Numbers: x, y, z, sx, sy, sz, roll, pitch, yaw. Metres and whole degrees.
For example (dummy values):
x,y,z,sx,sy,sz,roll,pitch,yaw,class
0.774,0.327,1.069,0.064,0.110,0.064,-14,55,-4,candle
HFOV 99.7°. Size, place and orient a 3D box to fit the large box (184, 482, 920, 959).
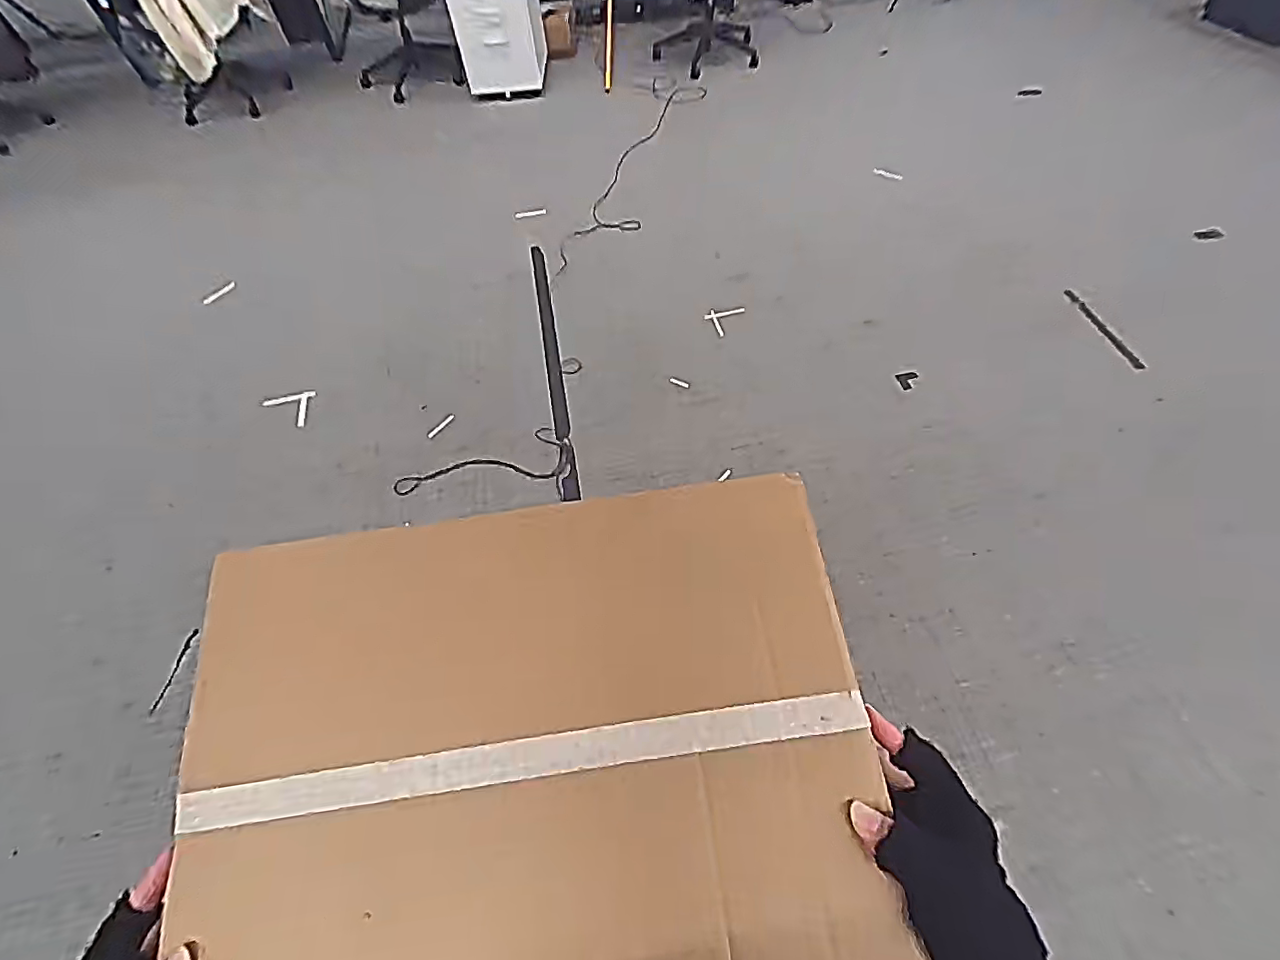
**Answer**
x,y,z,sx,sy,sz,roll,pitch,yaw,class
-0.061,0.226,0.468,0.408,0.320,0.320,-8,69,-1,large box
